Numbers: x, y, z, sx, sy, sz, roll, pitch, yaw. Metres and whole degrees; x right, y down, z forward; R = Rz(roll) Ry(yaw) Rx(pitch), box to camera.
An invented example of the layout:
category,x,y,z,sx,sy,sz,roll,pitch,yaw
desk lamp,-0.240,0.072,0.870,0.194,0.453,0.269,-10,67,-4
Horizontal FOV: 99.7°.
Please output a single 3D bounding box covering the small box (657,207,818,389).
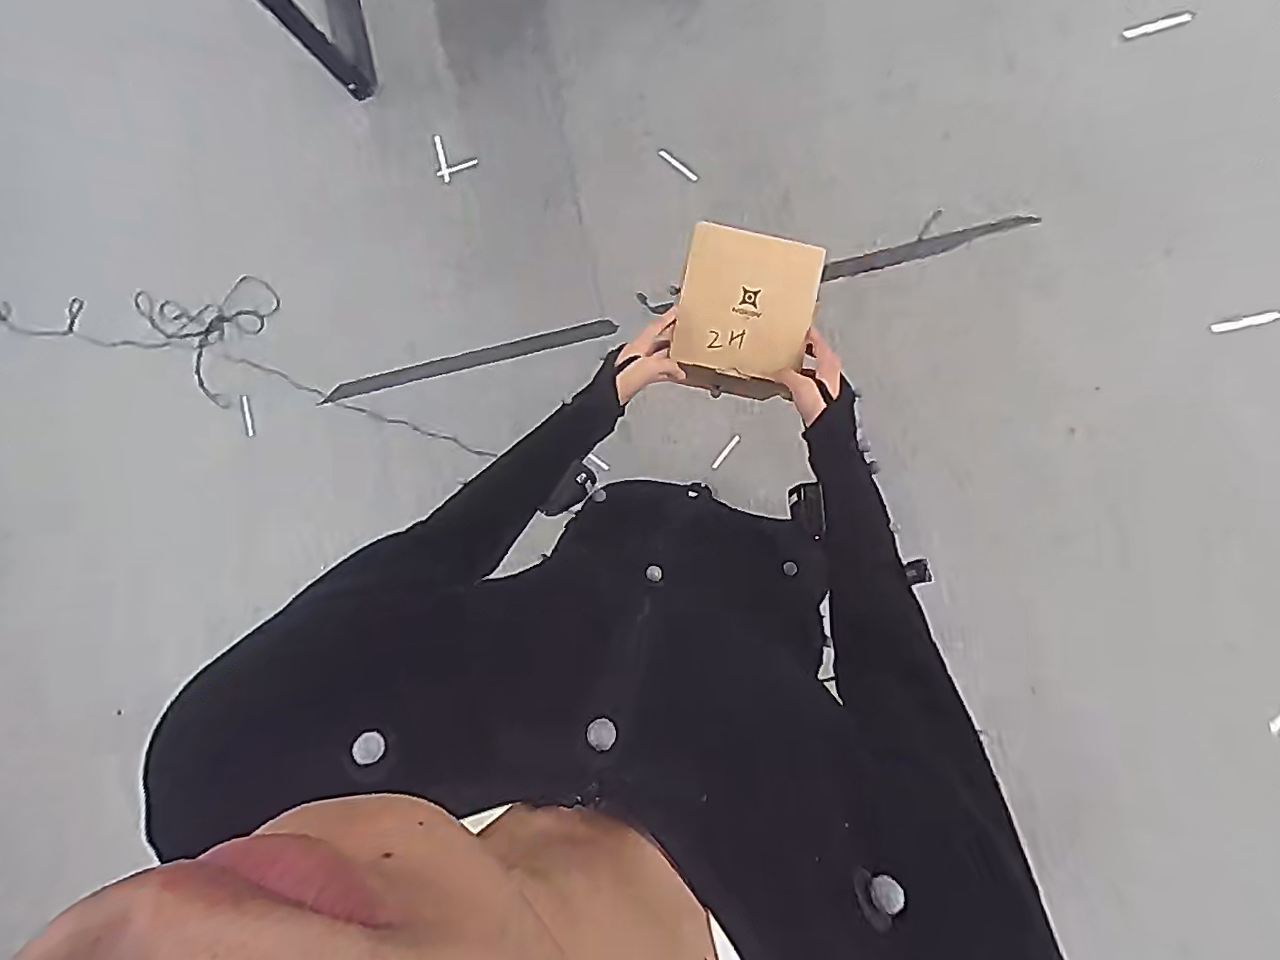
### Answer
category,x,y,z,sx,sy,sz,roll,pitch,yaw
small box,0.119,-0.232,0.734,0.168,0.176,0.179,11,93,-2
